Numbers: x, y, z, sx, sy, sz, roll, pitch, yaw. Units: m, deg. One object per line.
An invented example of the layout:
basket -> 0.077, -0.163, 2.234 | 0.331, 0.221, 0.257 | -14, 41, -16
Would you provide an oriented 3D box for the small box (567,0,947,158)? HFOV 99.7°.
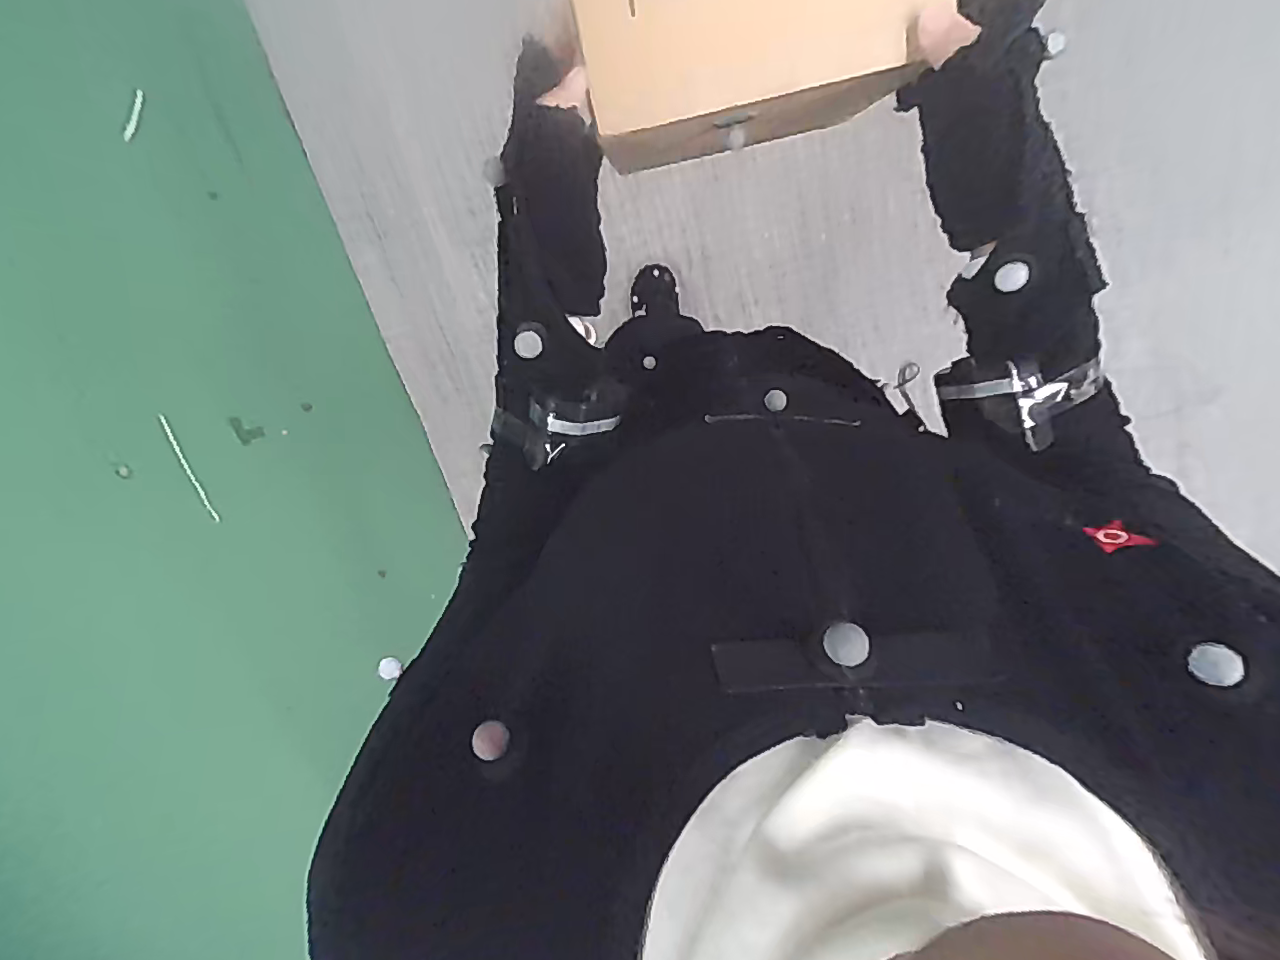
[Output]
small box -> 0.048, -0.302, 0.308 | 0.179, 0.176, 0.168 | -10, 113, 6
